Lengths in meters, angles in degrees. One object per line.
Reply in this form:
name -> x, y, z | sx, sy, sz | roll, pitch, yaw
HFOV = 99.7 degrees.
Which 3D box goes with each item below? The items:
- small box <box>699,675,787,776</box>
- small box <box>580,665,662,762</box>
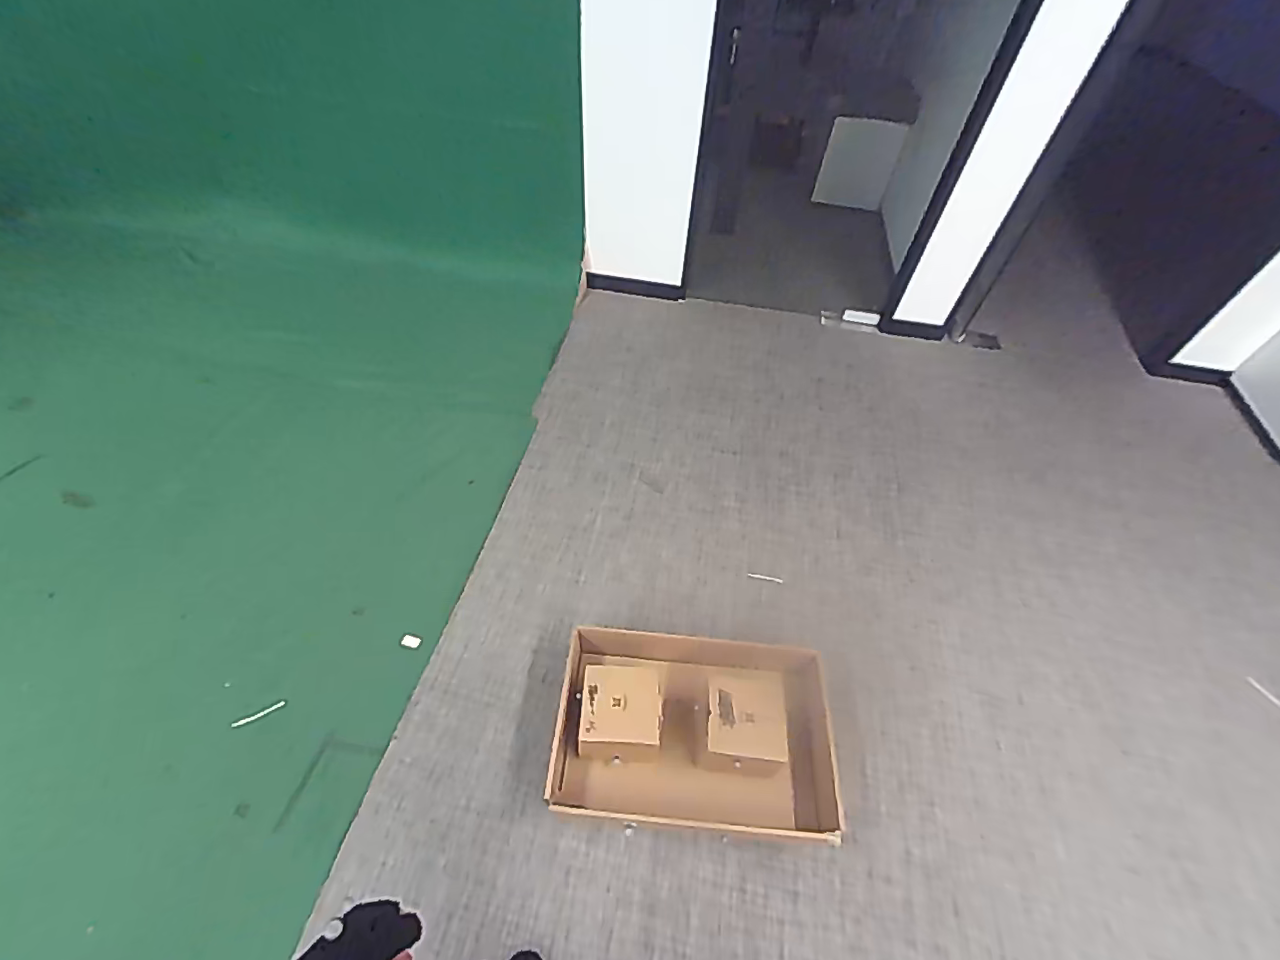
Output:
small box -> 0.234, 0.576, 1.263 | 0.179, 0.176, 0.168 | 7, 51, 2
small box -> -0.046, 0.549, 1.265 | 0.179, 0.176, 0.168 | 5, 50, -2
